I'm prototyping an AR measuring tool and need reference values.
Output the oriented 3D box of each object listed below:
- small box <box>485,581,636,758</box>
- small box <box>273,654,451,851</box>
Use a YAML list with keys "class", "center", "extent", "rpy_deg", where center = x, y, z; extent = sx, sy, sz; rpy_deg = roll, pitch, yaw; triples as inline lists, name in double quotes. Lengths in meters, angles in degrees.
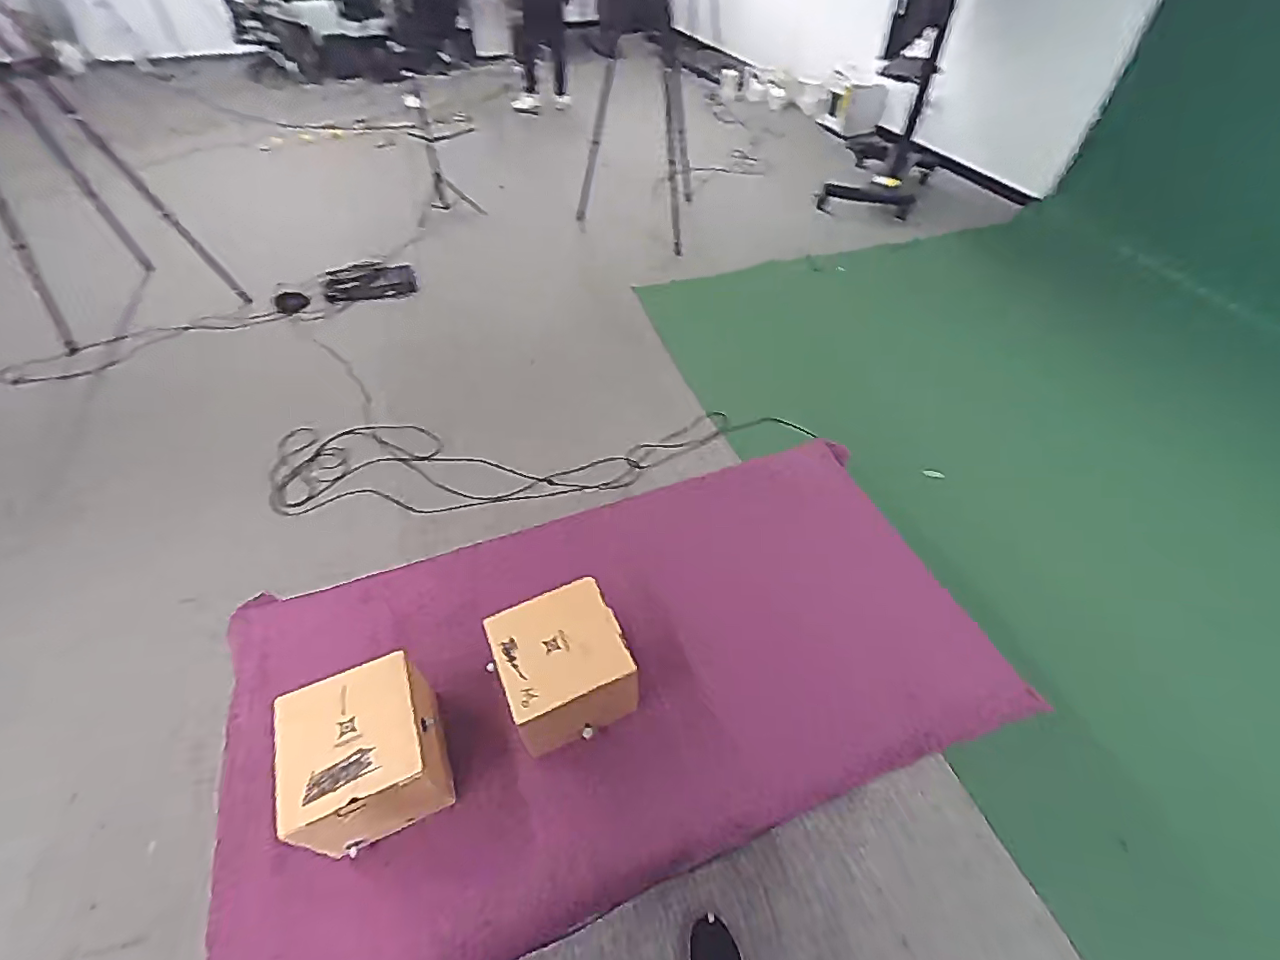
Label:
- class: "small box"
  center: [-0.119, 0.290, 0.825]
  extent: [0.179, 0.176, 0.168]
  rpy_deg: [-19, 51, -17]
- class: "small box"
  center: [-0.374, 0.379, 0.744]
  extent: [0.168, 0.176, 0.179]
  rpy_deg: [-19, 50, -17]
